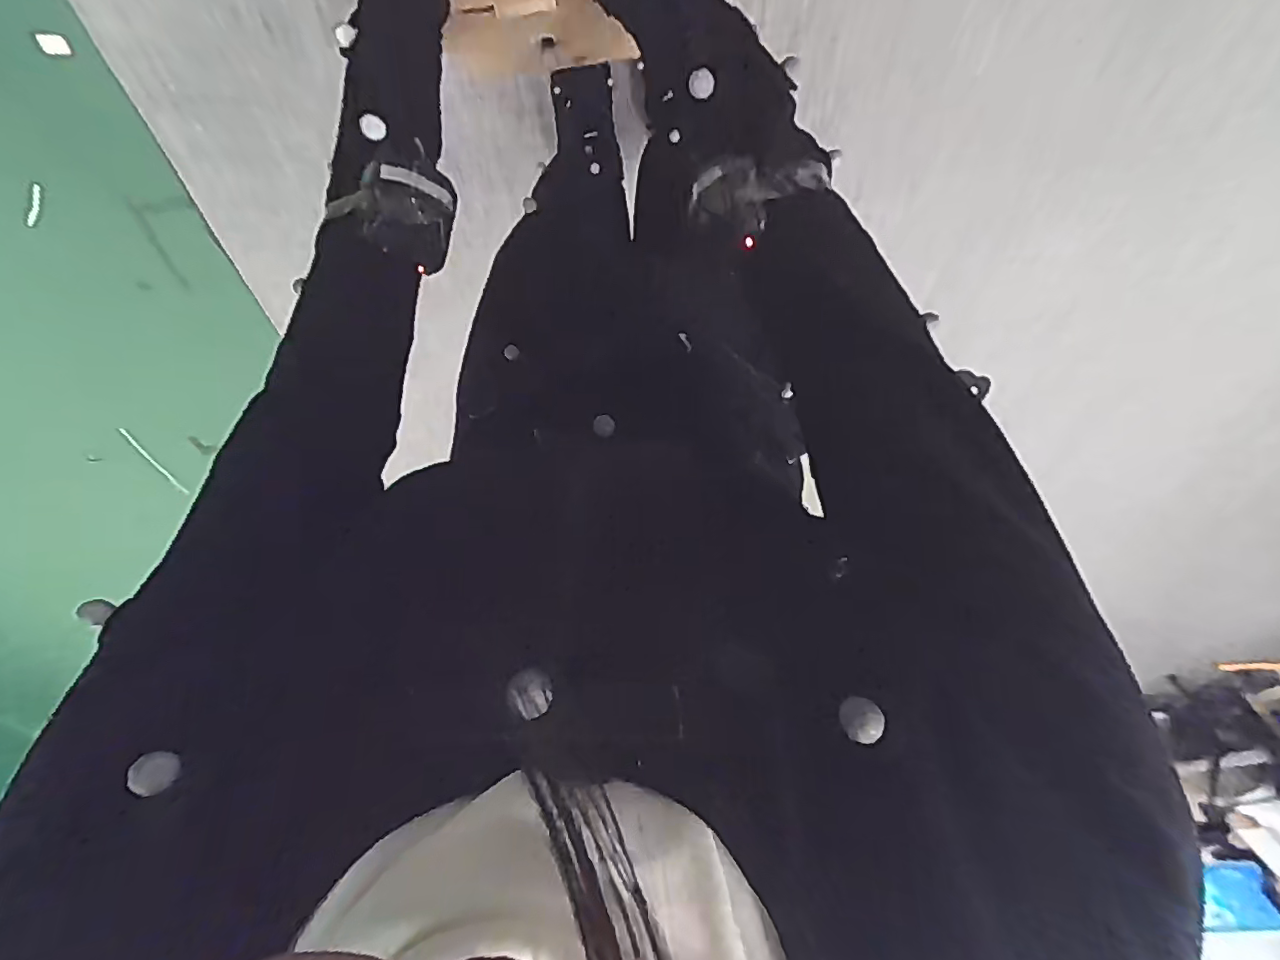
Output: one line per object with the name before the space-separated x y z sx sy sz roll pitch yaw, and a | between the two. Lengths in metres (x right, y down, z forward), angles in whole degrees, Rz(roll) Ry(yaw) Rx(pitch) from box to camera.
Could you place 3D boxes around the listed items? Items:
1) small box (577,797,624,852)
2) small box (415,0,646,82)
small box | -0.155 1.393 2.188 0.179 0.176 0.168 -2 137 2
small box | -0.087 -0.448 0.434 0.168 0.176 0.179 -6 112 5
